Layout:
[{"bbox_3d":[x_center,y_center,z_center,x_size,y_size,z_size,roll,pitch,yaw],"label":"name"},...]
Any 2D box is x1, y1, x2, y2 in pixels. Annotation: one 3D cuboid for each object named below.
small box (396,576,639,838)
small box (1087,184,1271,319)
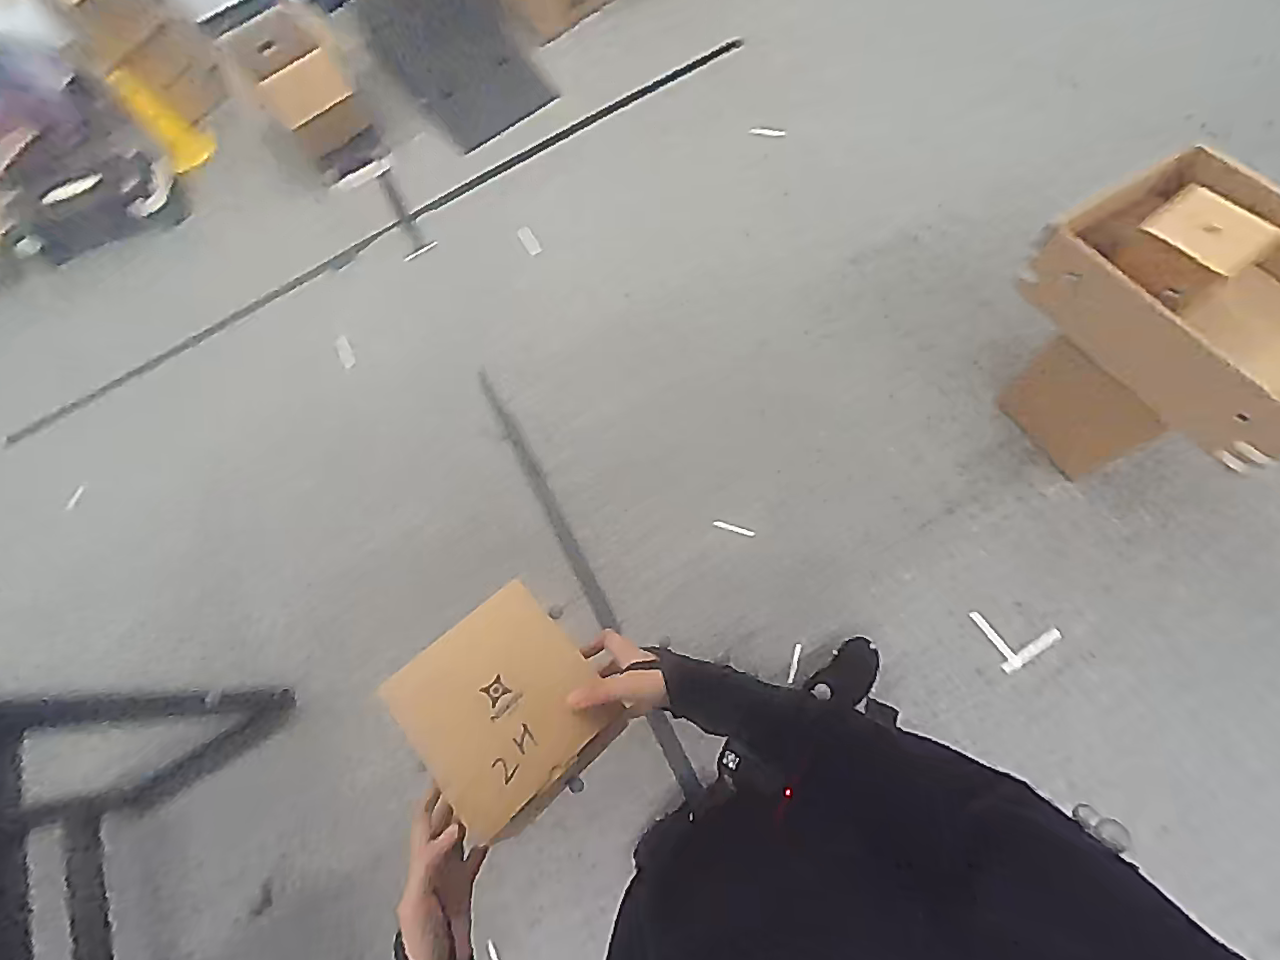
[{"bbox_3d":[-0.119,0.239,0.578,0.168,0.176,0.179,-38,69,-19],"label":"small box"},{"bbox_3d":[1.116,-0.468,1.137,0.168,0.176,0.179,-37,69,-7],"label":"small box"}]
